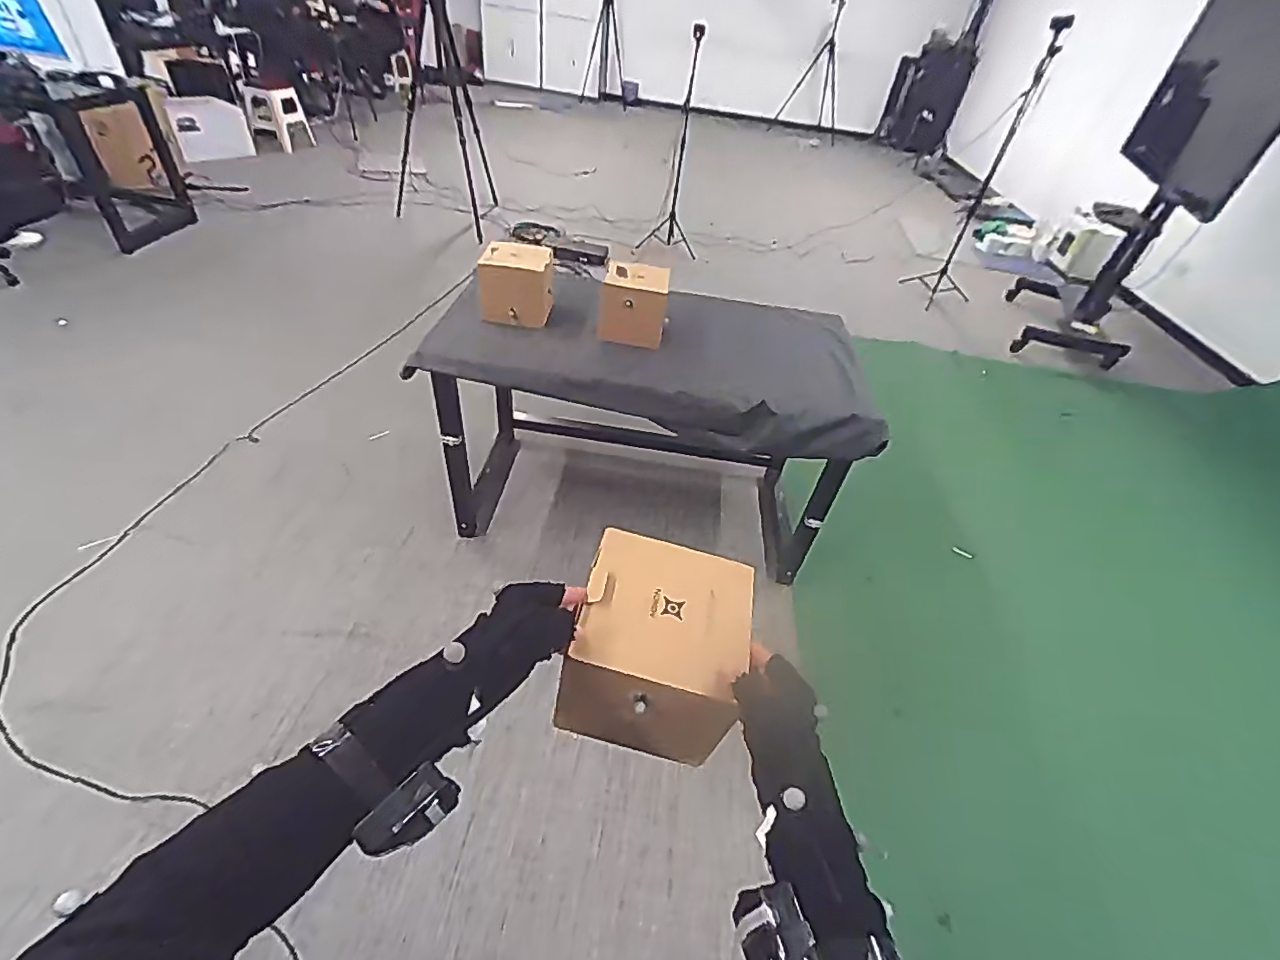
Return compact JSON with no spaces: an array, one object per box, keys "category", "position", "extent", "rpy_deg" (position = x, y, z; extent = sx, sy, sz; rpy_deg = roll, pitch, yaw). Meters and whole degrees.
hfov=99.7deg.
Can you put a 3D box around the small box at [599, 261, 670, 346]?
[{"category":"small box","position":[-0.017,-0.497,1.527],"extent":[0.179,0.176,0.168],"rpy_deg":[9,43,-1]}]

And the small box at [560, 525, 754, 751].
[{"category":"small box","position":[0.017,0.182,0.614],"extent":[0.179,0.176,0.168],"rpy_deg":[16,44,-1]}]

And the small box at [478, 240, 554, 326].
[{"category":"small box","position":[-0.346,-0.554,1.532],"extent":[0.179,0.176,0.168],"rpy_deg":[7,43,-3]}]
